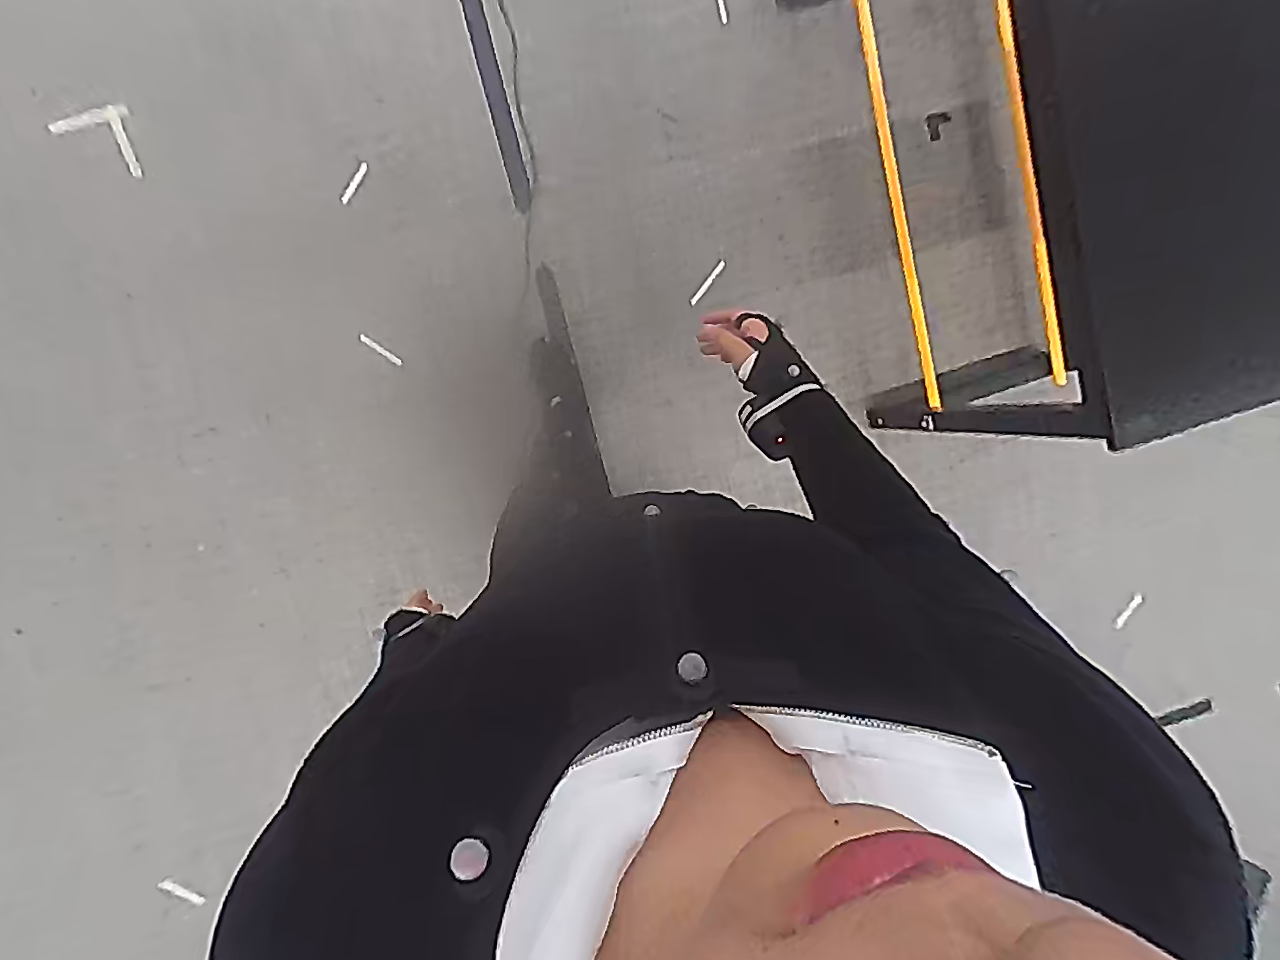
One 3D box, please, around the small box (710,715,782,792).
[{"bbox_3d":[0.311,0.796,1.535,0.168,0.176,0.179,-17,98,-4],"label":"small box"}]
